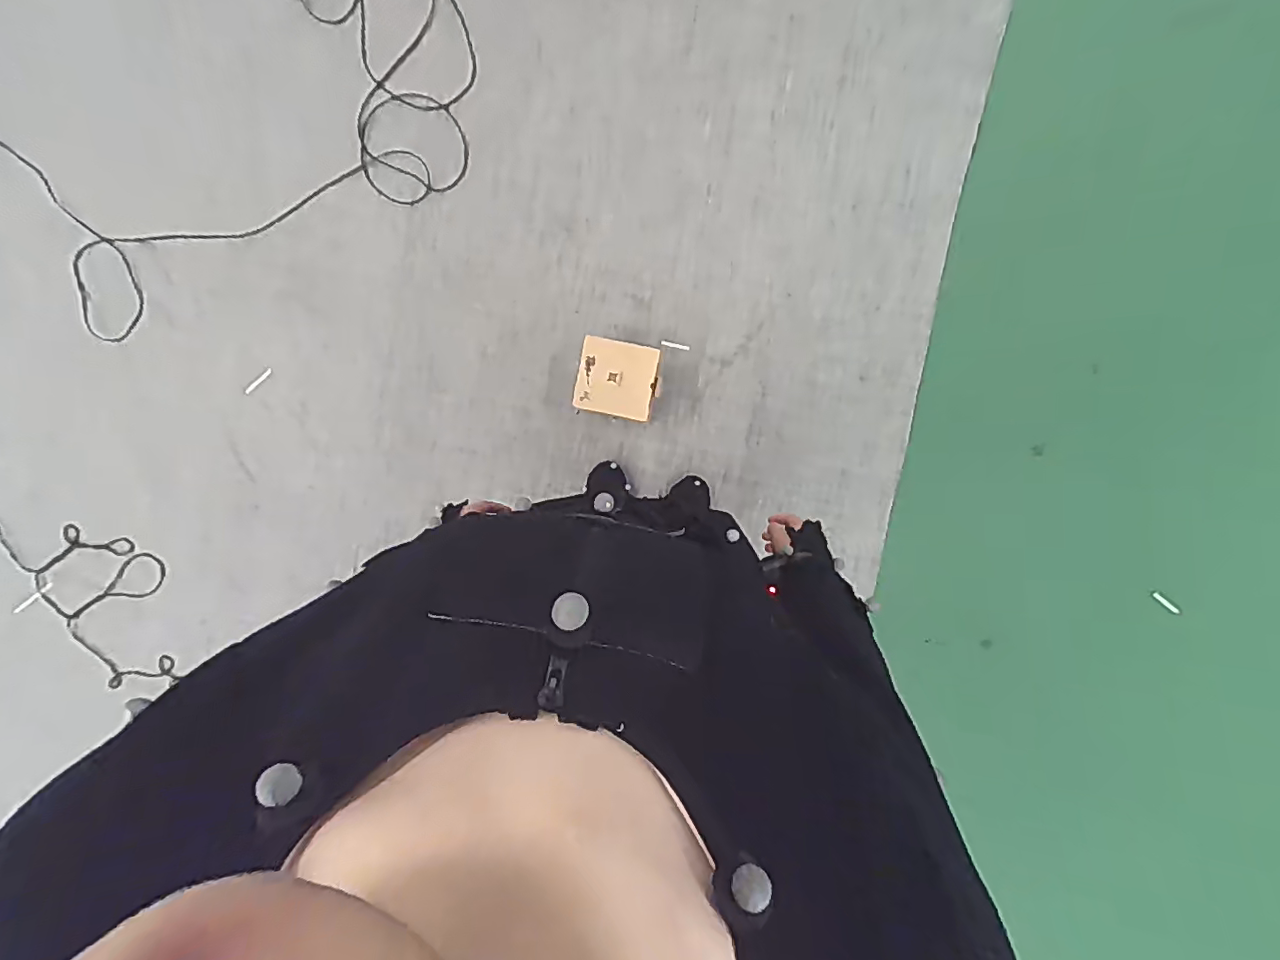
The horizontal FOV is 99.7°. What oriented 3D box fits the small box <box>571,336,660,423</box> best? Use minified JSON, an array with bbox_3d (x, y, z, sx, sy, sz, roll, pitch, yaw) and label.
[{"bbox_3d":[-0.052,-0.233,1.289,0.179,0.176,0.168,11,95,2],"label":"small box"}]
